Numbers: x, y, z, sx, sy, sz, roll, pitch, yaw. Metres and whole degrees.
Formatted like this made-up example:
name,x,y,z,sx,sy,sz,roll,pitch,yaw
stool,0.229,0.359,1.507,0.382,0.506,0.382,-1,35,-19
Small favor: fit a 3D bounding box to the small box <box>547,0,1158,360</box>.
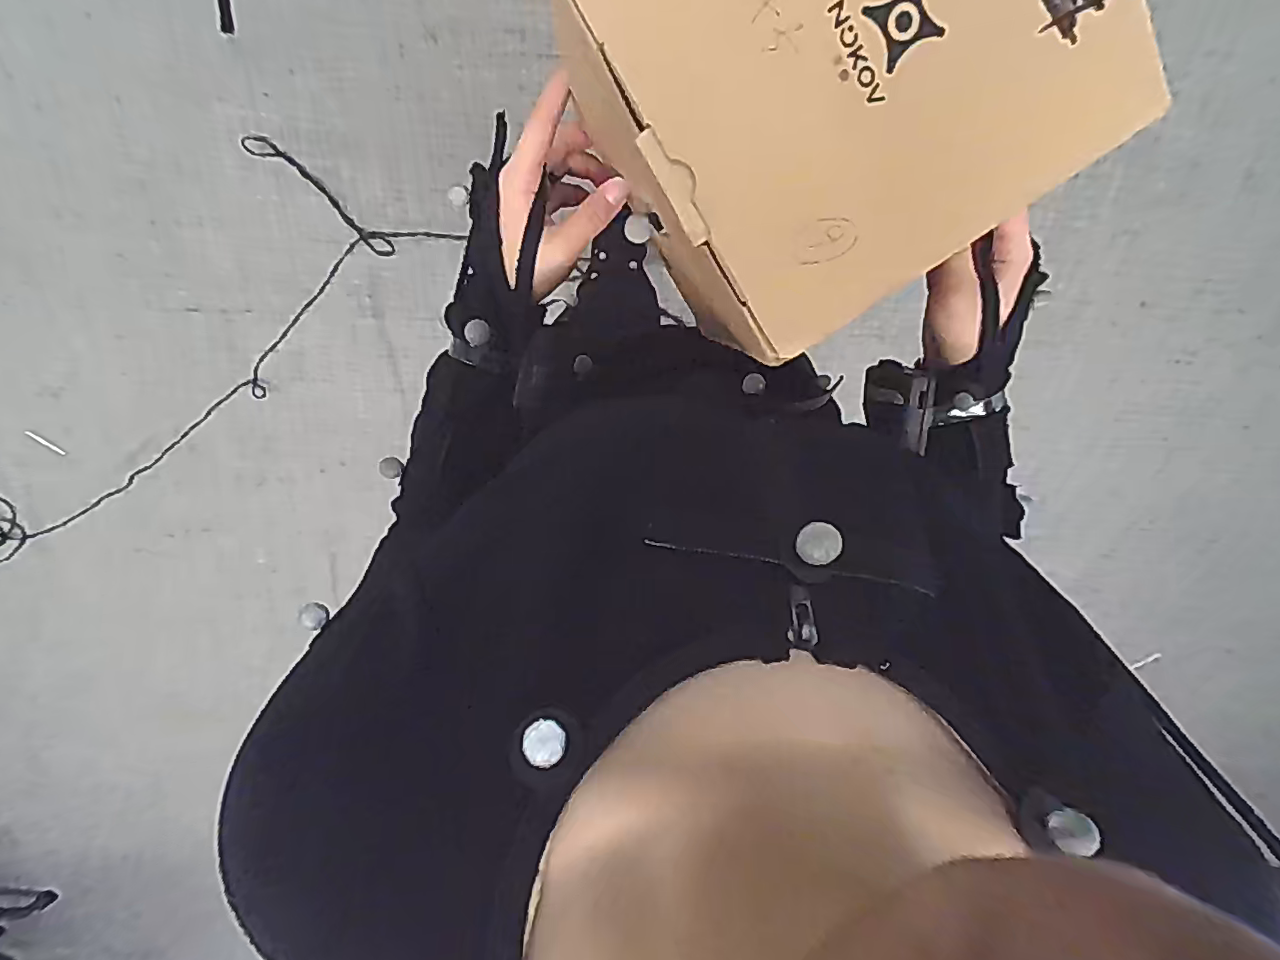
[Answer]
name,x,y,z,sx,sy,sz,roll,pitch,yaw
small box,0.078,-0.181,0.271,0.179,0.176,0.168,-32,107,8
